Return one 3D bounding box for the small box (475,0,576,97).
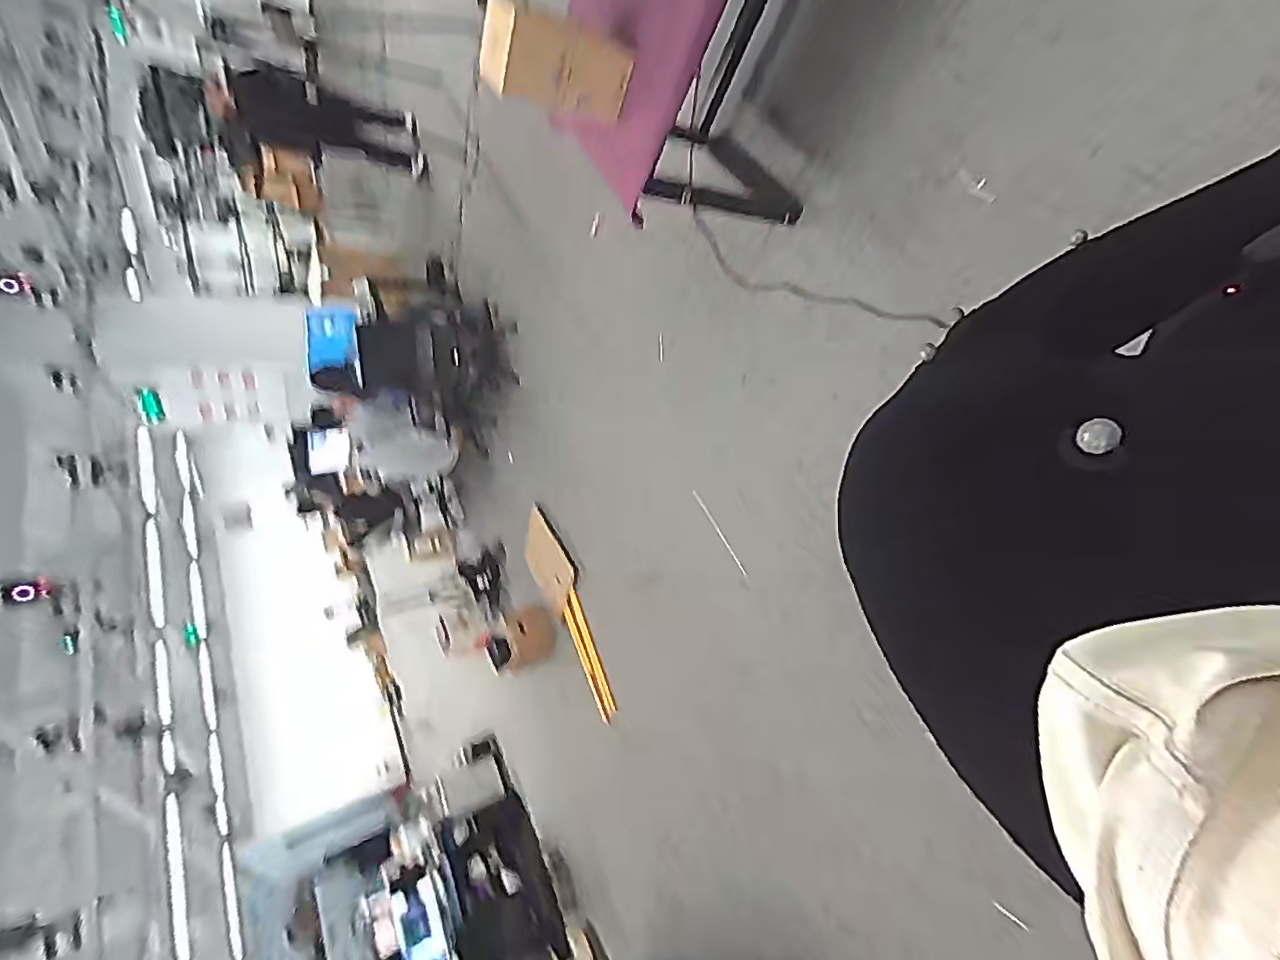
[{"bbox_3d":[-0.282,-1.075,1.321,0.179,0.176,0.168,58,139,27],"label":"small box"}]
